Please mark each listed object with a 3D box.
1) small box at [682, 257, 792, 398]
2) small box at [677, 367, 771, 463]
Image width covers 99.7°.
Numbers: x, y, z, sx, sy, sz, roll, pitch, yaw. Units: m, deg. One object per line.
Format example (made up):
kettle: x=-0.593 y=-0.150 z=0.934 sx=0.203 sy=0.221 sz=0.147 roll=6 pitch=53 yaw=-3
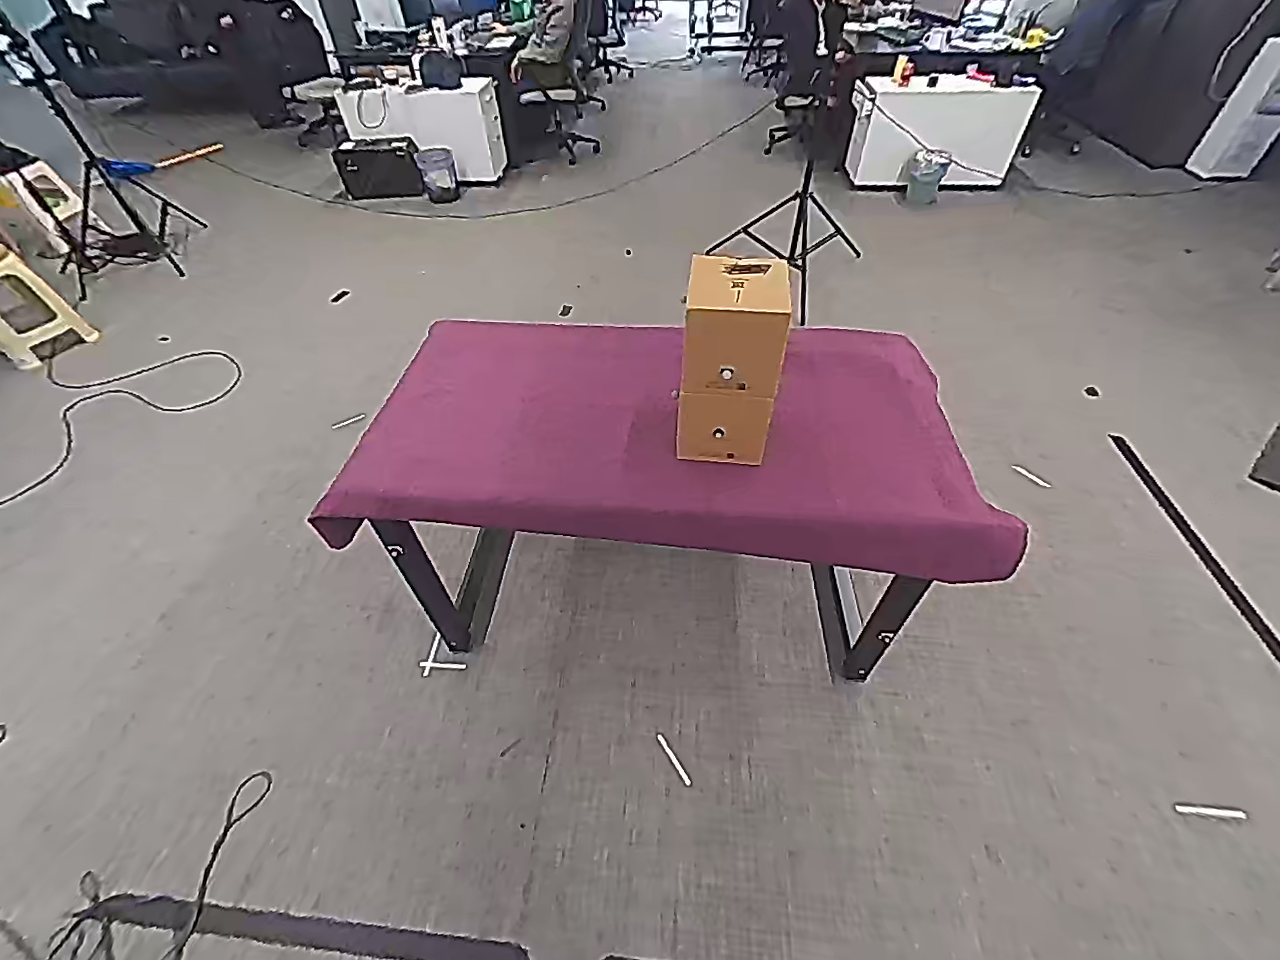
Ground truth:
small box: x=0.163 y=-0.266 z=0.946 sx=0.168 sy=0.176 sz=0.179 roll=5 pitch=48 yaw=6
small box: x=0.163 y=-0.152 z=1.065 sx=0.168 sy=0.176 sz=0.179 roll=5 pitch=47 yaw=6
